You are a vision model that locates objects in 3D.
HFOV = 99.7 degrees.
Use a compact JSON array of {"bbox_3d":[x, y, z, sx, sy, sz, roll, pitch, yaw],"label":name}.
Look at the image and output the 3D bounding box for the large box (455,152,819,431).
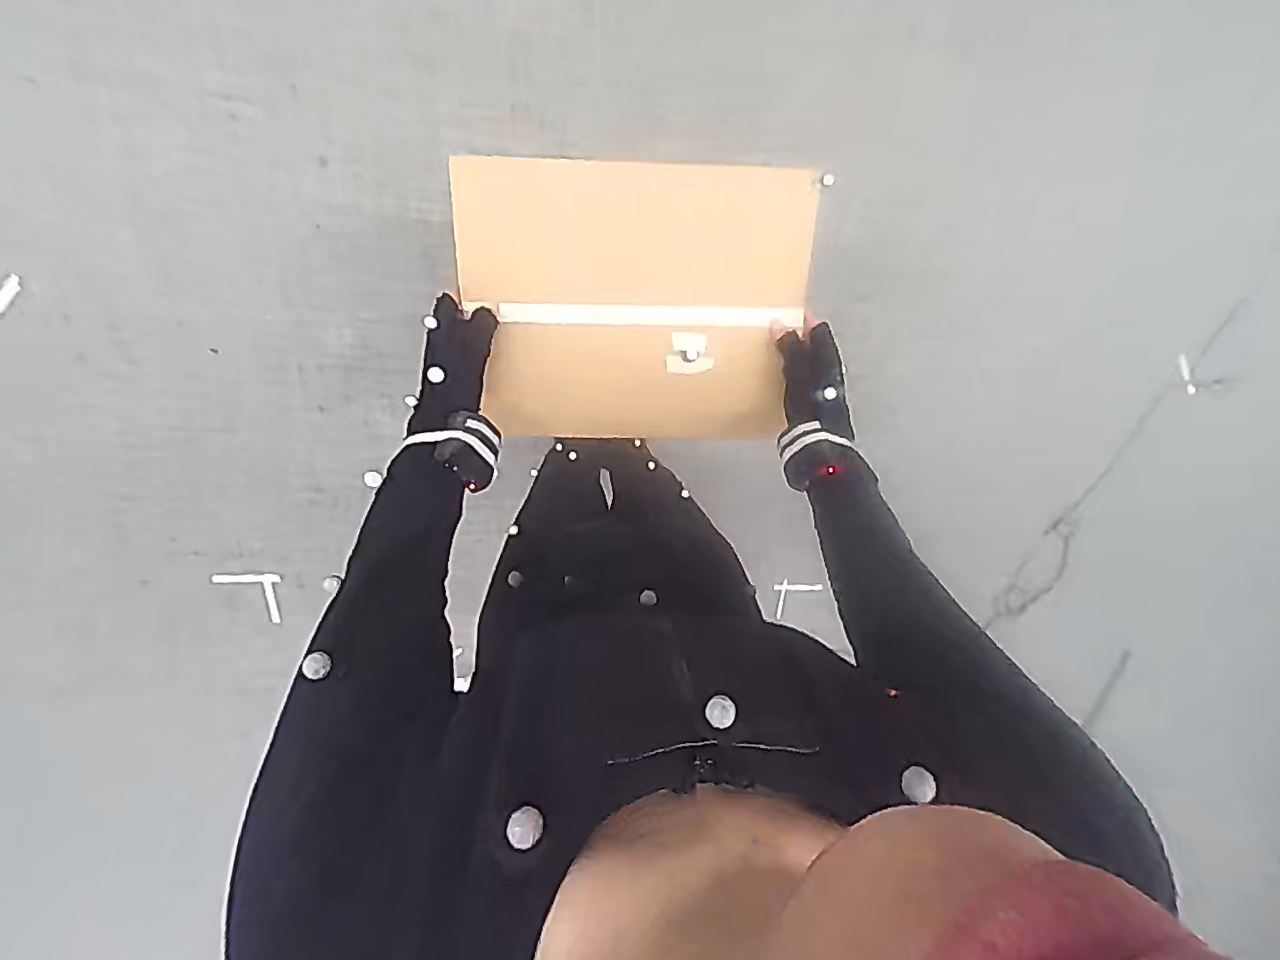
[{"bbox_3d":[-0.011,-0.265,0.777,0.408,0.320,0.320,0,114,-4],"label":"large box"}]
